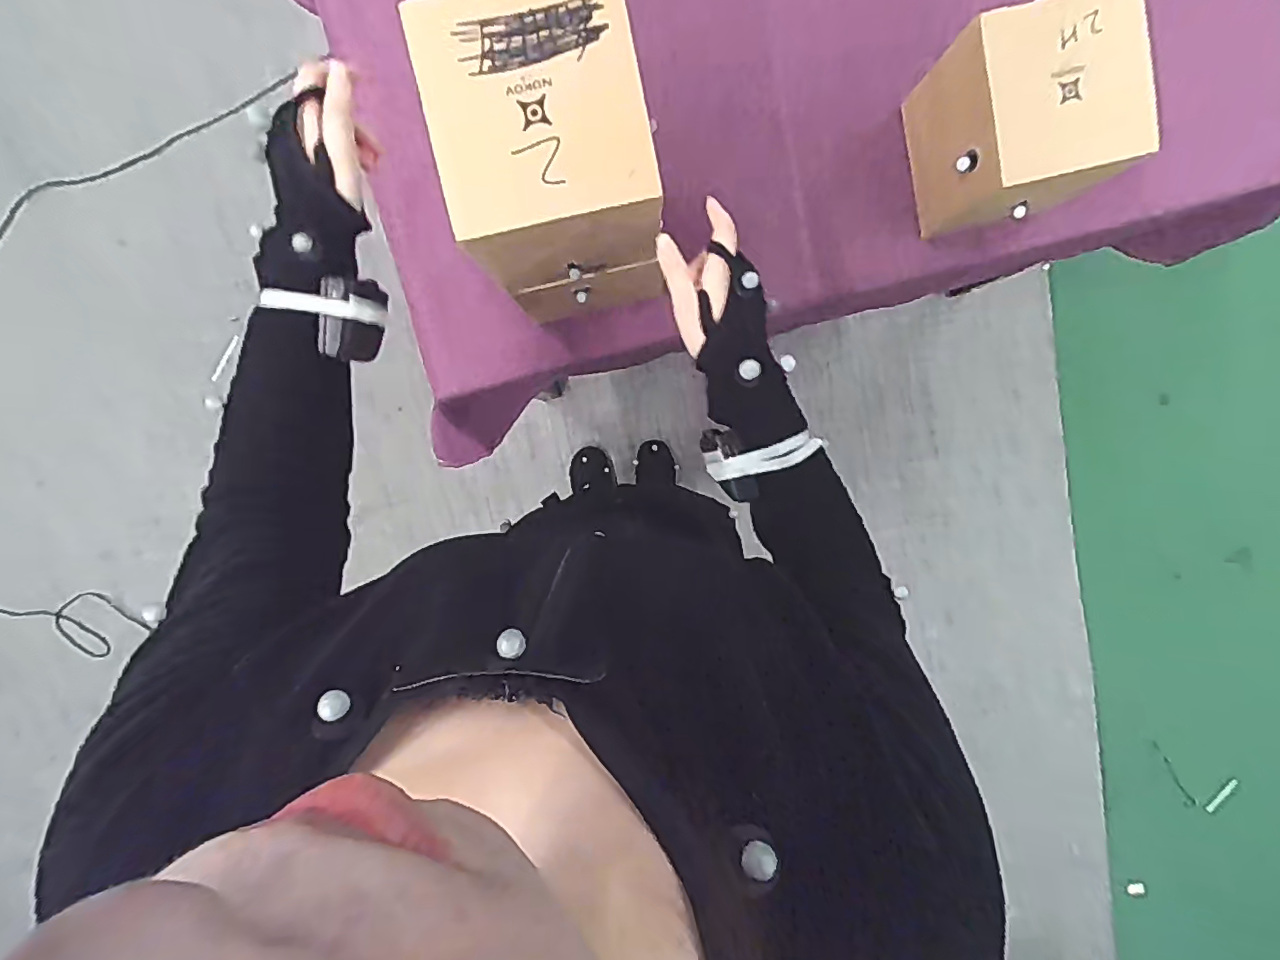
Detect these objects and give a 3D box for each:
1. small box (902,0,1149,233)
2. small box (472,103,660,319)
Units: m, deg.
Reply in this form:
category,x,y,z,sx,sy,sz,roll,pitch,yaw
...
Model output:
category,x,y,z,sx,sy,sz,roll,pitch,yaw
small box,0.436,-0.411,0.637,0.168,0.176,0.179,-12,96,1
small box,-0.077,-0.305,0.653,0.179,0.176,0.168,-12,96,1
